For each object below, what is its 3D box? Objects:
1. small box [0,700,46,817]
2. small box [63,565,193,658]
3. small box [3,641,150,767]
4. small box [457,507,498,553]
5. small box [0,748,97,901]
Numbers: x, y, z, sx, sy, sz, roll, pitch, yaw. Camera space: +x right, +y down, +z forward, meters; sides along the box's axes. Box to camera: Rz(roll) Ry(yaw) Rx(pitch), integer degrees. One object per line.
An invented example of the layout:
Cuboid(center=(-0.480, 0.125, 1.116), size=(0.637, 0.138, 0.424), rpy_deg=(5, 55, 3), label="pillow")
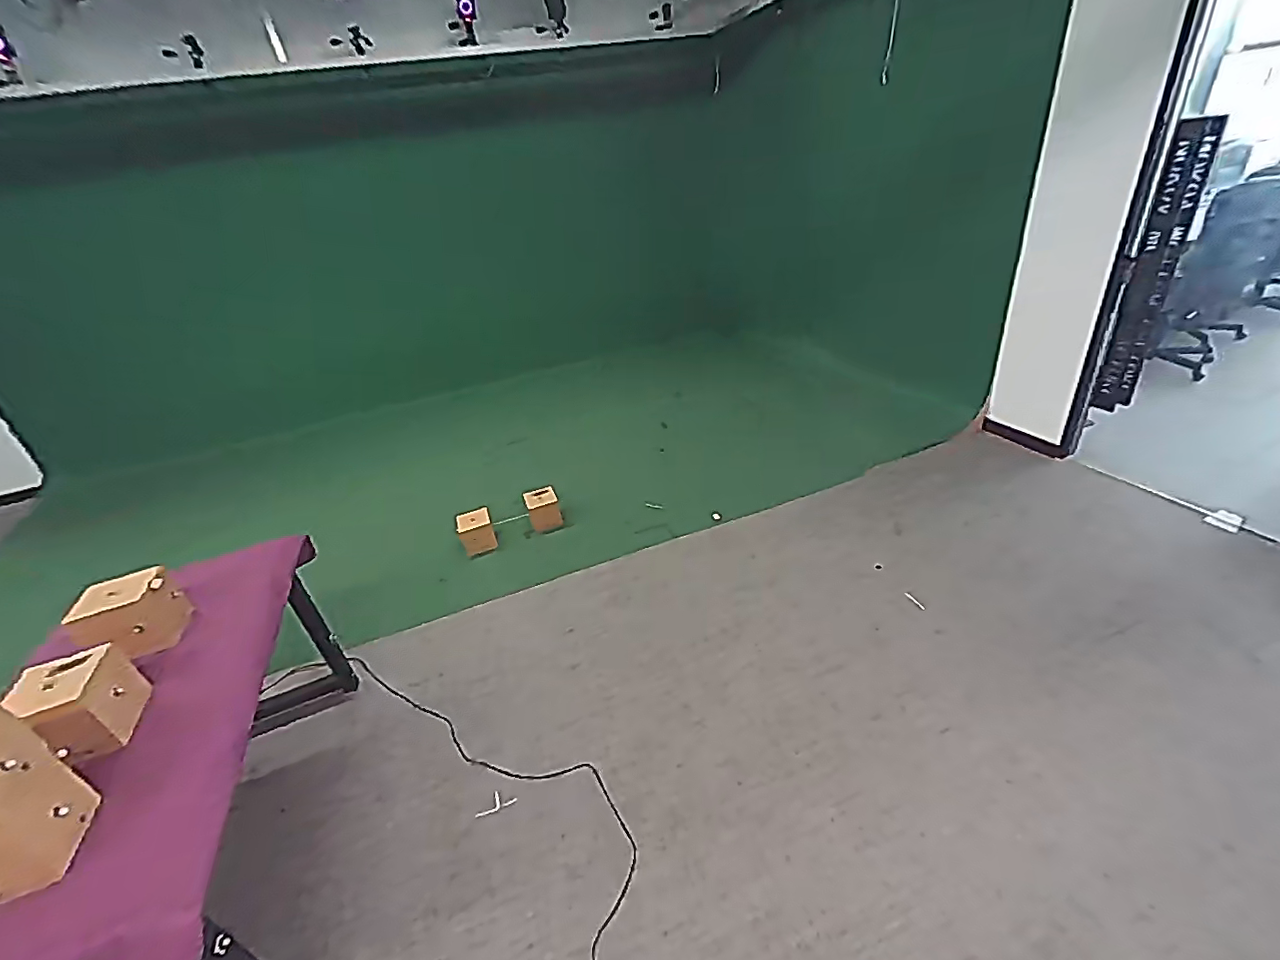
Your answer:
Cuboid(center=(-1.164, 0.486, 0.883), size=(0.179, 0.176, 0.168), rpy_deg=(-18, 32, -16), label="small box")
Cuboid(center=(-1.372, 0.365, 1.467), size=(0.179, 0.176, 0.168), rpy_deg=(-18, 31, -15), label="small box")
Cuboid(center=(-1.251, 0.502, 1.204), size=(0.168, 0.176, 0.179), rpy_deg=(-18, 33, -16), label="small box")
Cuboid(center=(-0.877, 0.277, 2.920), size=(0.168, 0.176, 0.179), rpy_deg=(-18, 31, -15), label="small box")
Cuboid(center=(-1.145, 0.628, 0.964), size=(0.179, 0.176, 0.168), rpy_deg=(-17, 31, -16), label="small box")
